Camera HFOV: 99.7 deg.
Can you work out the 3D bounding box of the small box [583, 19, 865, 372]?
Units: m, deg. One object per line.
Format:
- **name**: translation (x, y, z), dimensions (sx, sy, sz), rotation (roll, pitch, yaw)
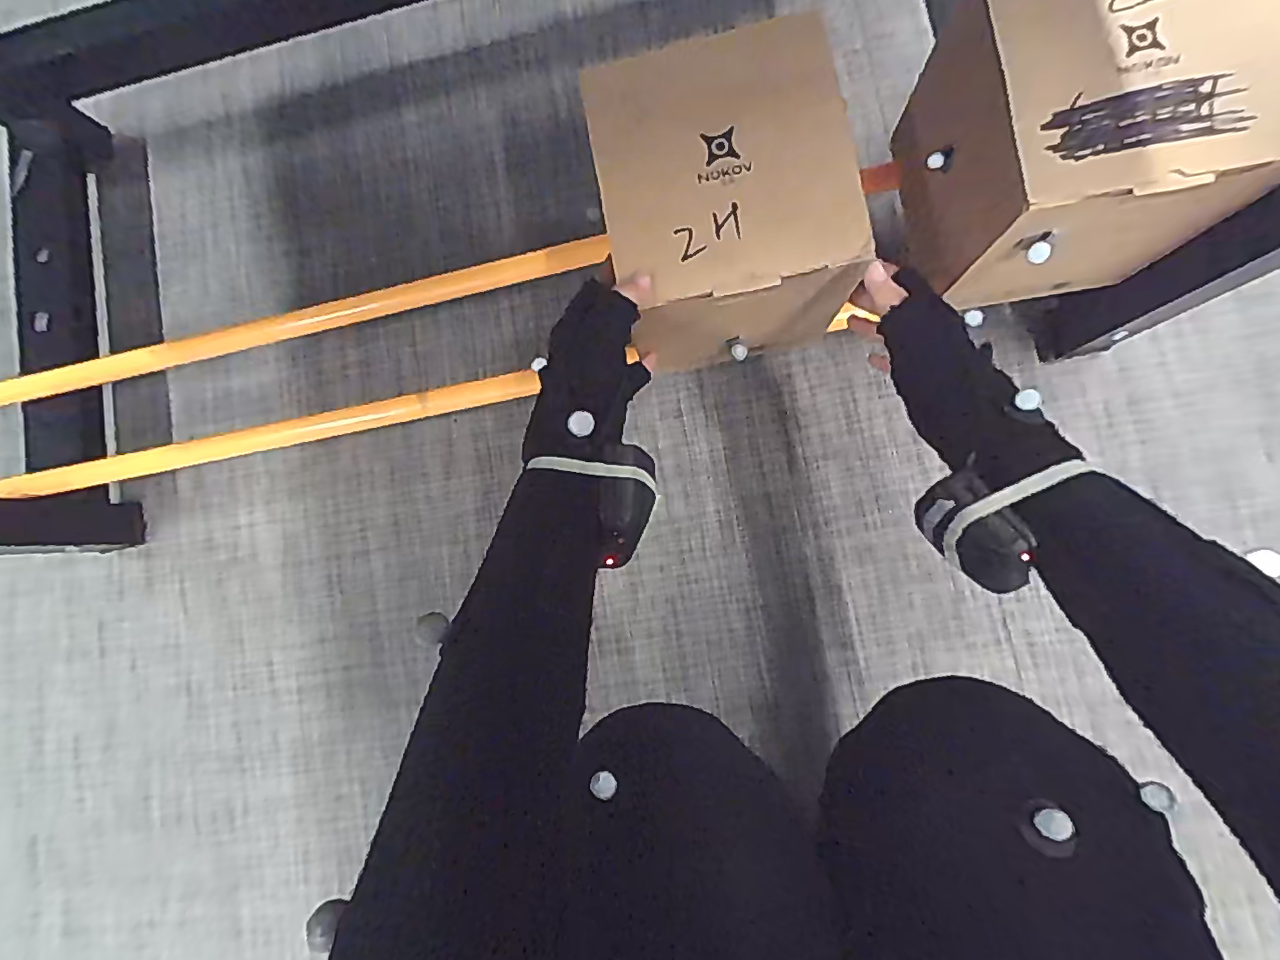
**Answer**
- **small box**: translation (0.061, -0.207, 0.443), dimensions (0.168, 0.176, 0.179), rotation (-11, 85, 6)
